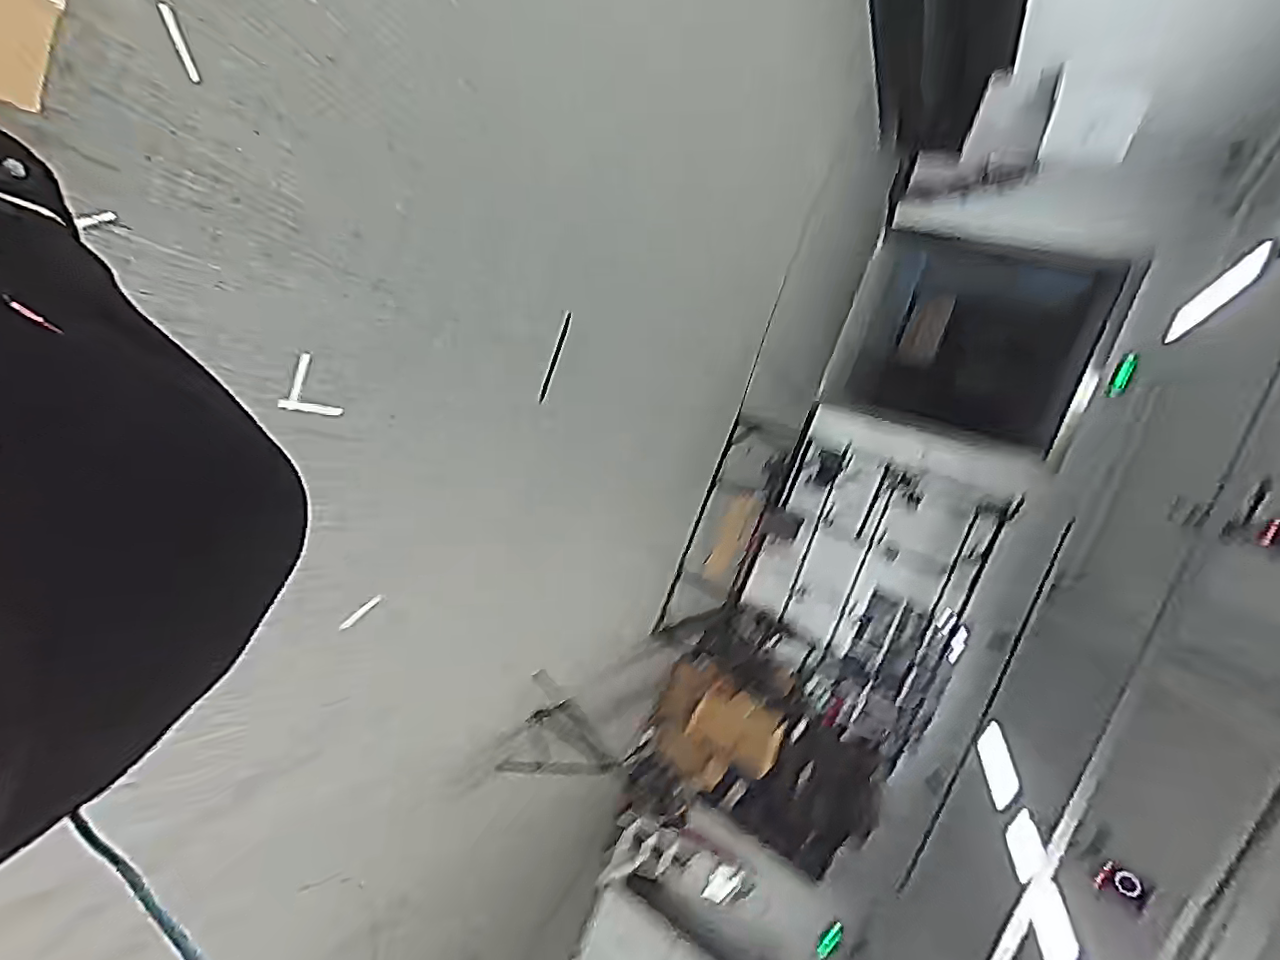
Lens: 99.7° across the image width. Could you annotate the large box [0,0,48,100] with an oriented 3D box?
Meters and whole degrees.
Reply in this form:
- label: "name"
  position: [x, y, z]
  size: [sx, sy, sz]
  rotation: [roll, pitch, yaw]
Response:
- label: "large box"
  position: [-1.012, -0.727, 0.625]
  size: [0.408, 0.320, 0.320]
  rotation: [5, 107, -62]
